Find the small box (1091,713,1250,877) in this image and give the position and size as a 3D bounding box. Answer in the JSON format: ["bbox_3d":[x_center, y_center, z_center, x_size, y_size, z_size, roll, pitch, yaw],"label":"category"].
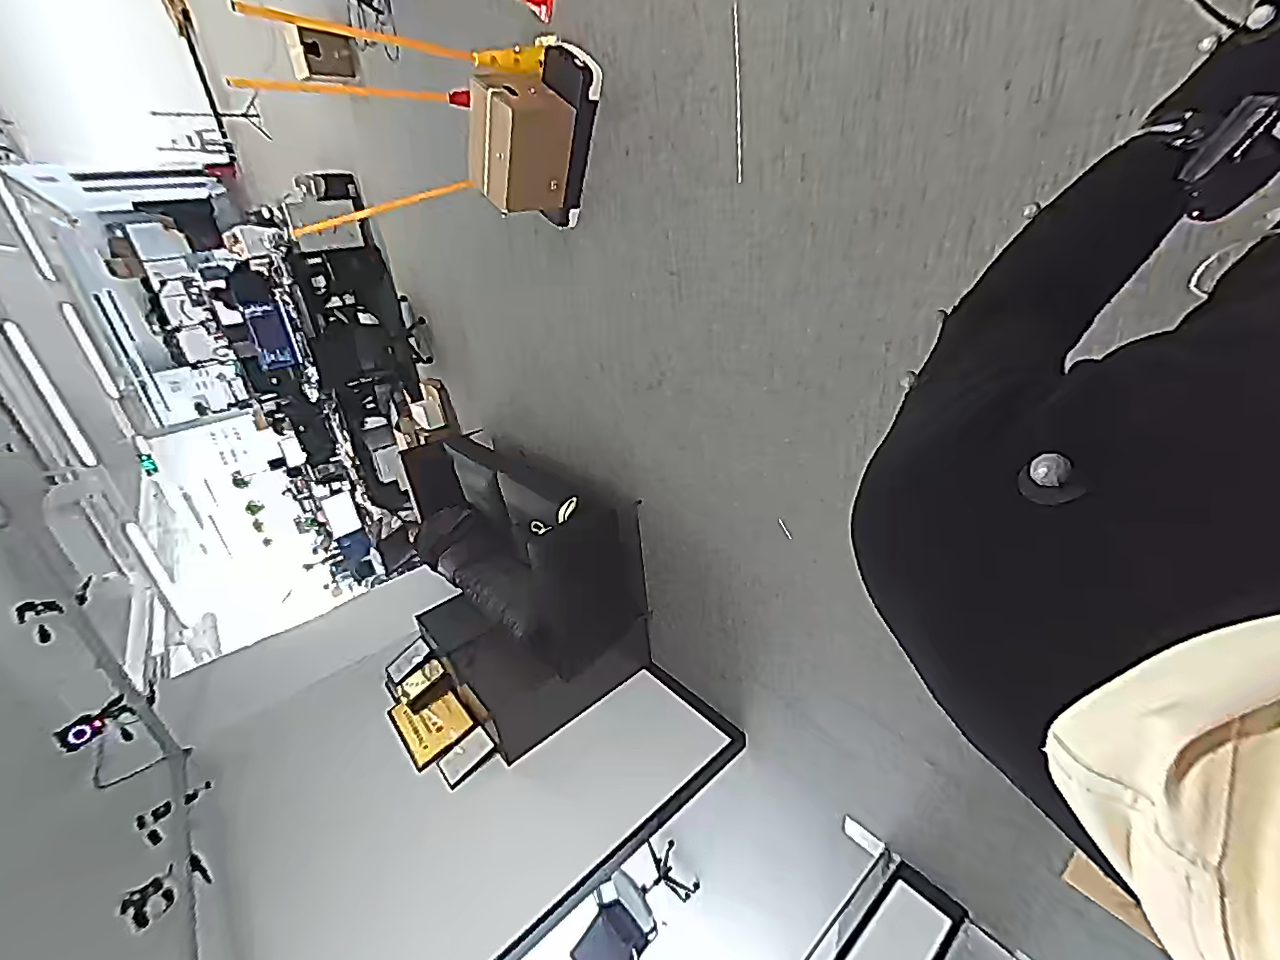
[{"bbox_3d":[1.025,0.600,1.047,0.168,0.176,0.179,27,131,45],"label":"small box"}]
